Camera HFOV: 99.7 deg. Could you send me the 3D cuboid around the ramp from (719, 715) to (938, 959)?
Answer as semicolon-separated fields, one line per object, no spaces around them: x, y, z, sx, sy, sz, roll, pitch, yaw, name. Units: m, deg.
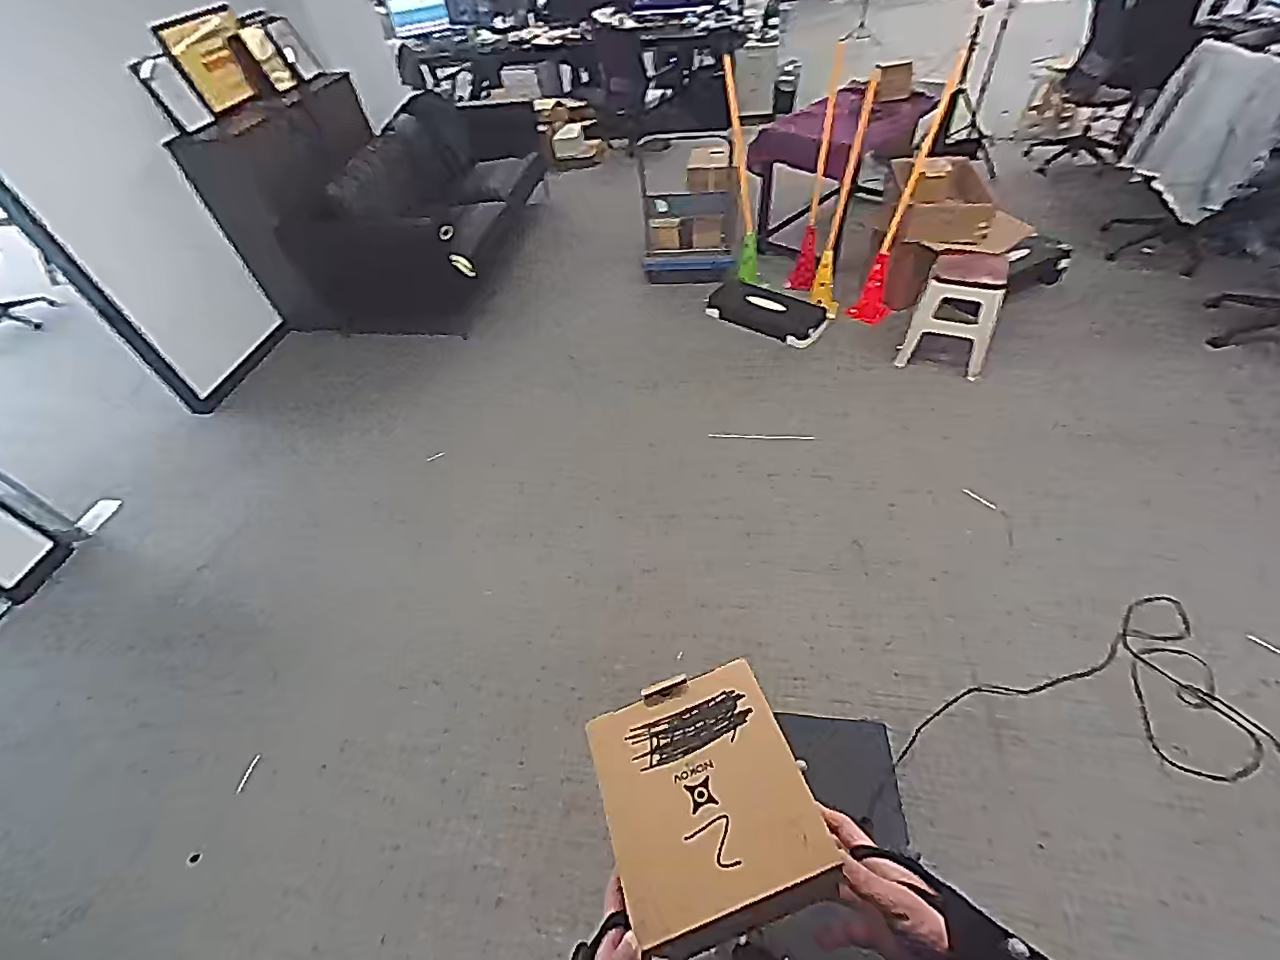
0.434;1.053;1.284;0.509;0.206;0.991;0;48;9;ramp
